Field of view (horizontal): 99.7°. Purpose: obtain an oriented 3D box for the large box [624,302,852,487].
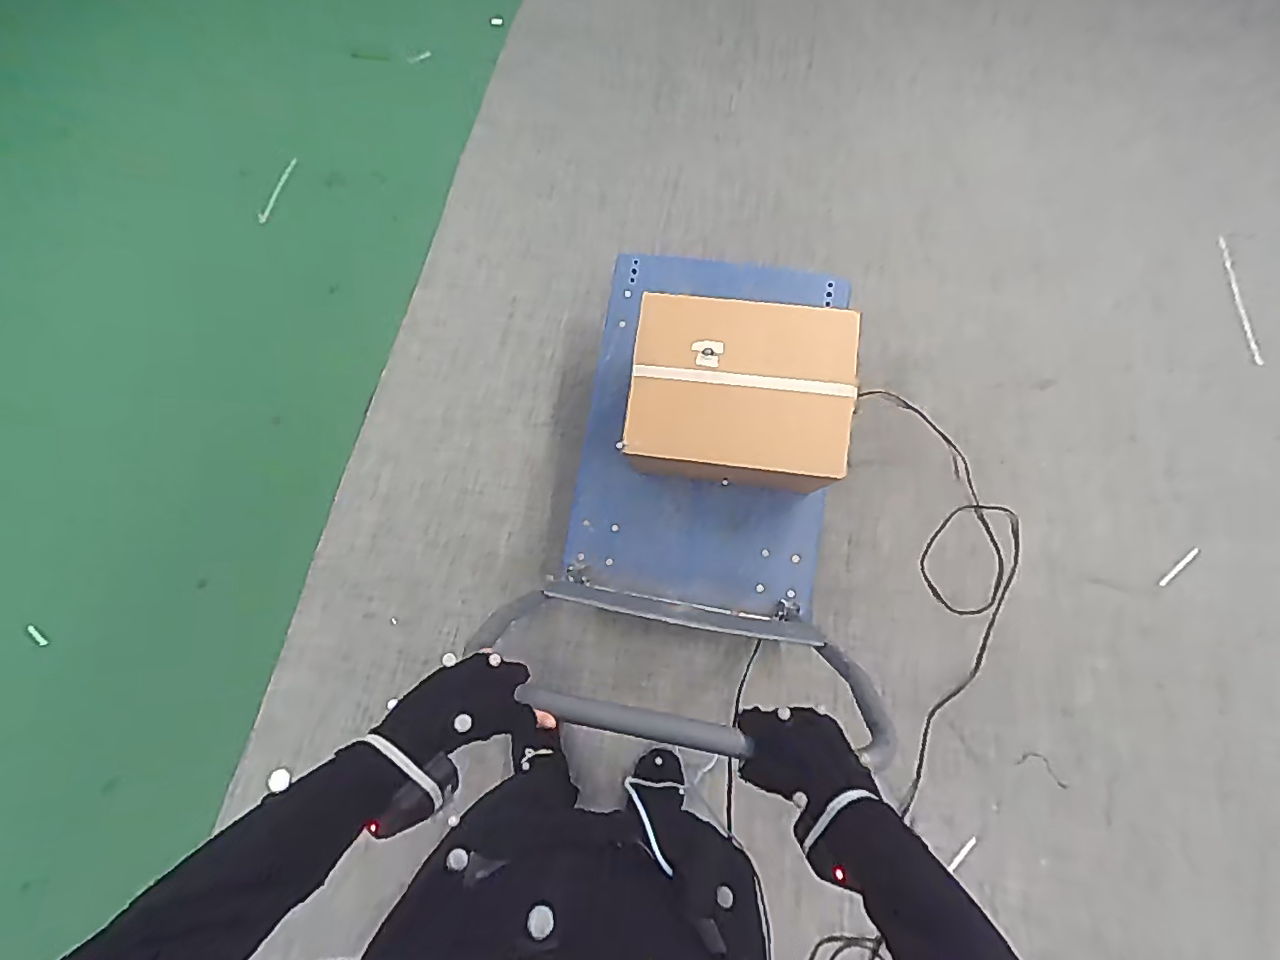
[{"bbox_3d":[0.199,-0.162,1.152,0.408,0.320,0.320,6,84,7],"label":"large box"}]
